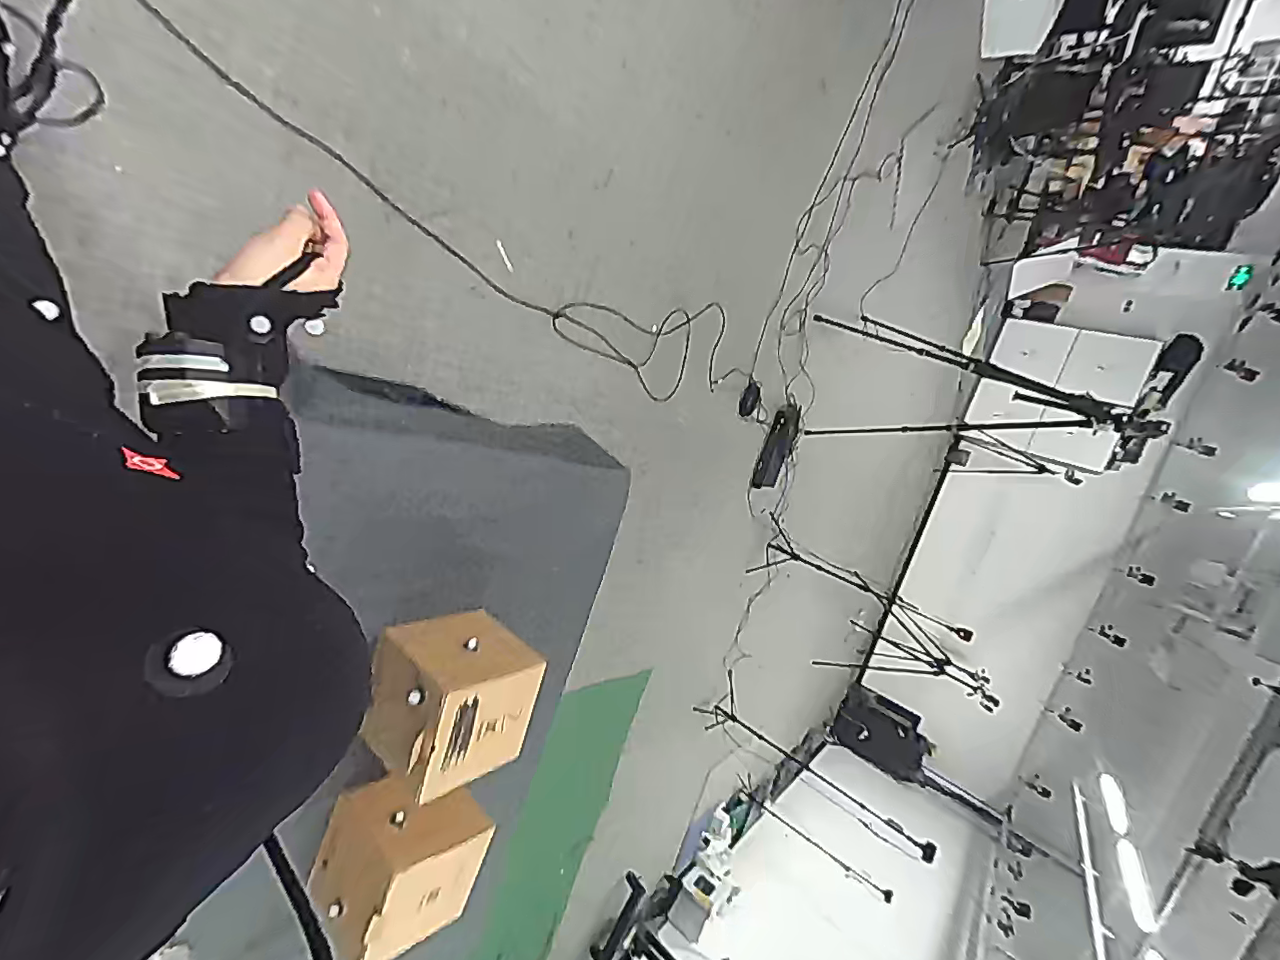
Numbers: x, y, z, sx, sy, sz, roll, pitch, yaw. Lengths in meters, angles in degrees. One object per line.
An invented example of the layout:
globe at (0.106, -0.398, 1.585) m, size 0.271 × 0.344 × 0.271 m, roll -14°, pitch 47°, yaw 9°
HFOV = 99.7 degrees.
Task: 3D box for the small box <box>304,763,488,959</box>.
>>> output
small box at (-0.376, 0.576, 0.831) m, size 0.179 × 0.176 × 0.168 m, roll 15°, pitch 99°, yaw -57°
